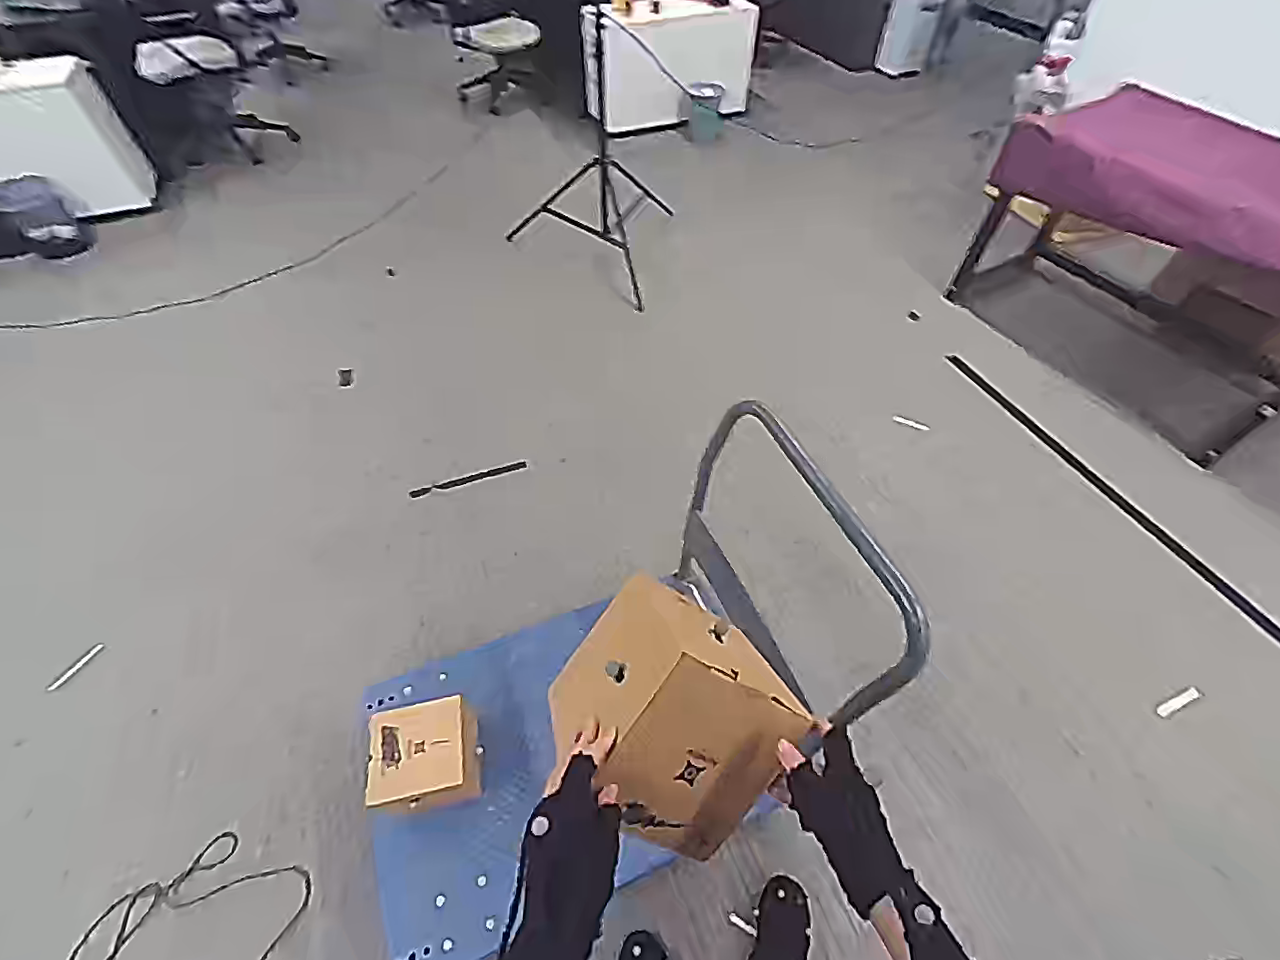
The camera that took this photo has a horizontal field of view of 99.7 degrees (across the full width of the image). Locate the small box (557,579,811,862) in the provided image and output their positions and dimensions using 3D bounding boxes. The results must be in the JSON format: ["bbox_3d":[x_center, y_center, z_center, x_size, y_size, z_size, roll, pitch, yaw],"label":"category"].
[{"bbox_3d":[0.029,0.231,0.556,0.168,0.176,0.179,35,94,-20],"label":"small box"}]

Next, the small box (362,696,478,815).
[{"bbox_3d":[-0.439,0.564,1.101,0.179,0.176,0.168,-9,53,-10],"label":"small box"}]
